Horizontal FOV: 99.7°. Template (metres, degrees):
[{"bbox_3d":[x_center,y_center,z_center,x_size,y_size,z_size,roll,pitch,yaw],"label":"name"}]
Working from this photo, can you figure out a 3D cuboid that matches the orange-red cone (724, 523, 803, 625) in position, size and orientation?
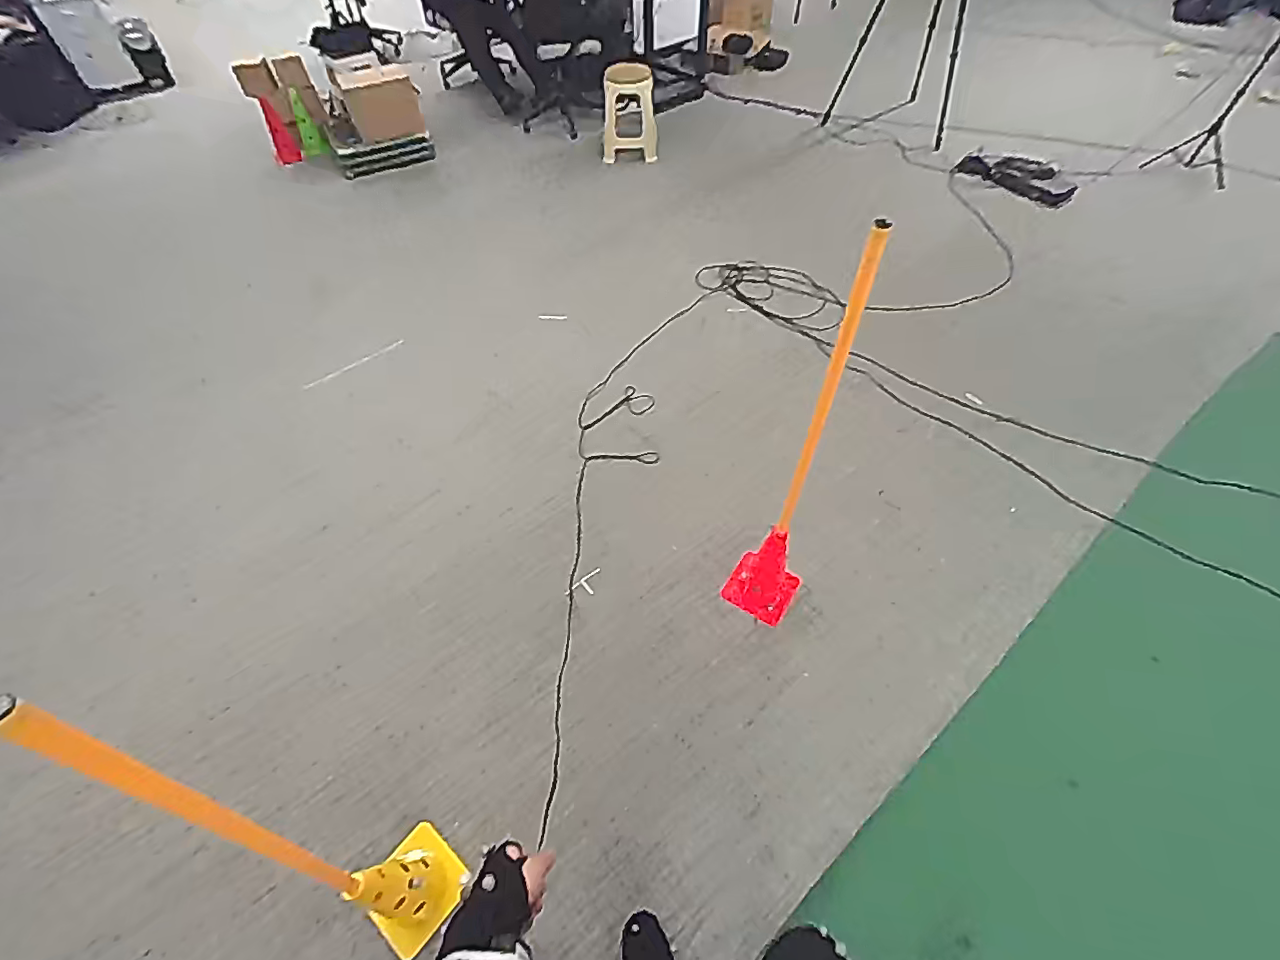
[{"bbox_3d":[0.389,0.236,1.575,0.198,0.360,0.199,29,58,21],"label":"orange-red cone"}]
